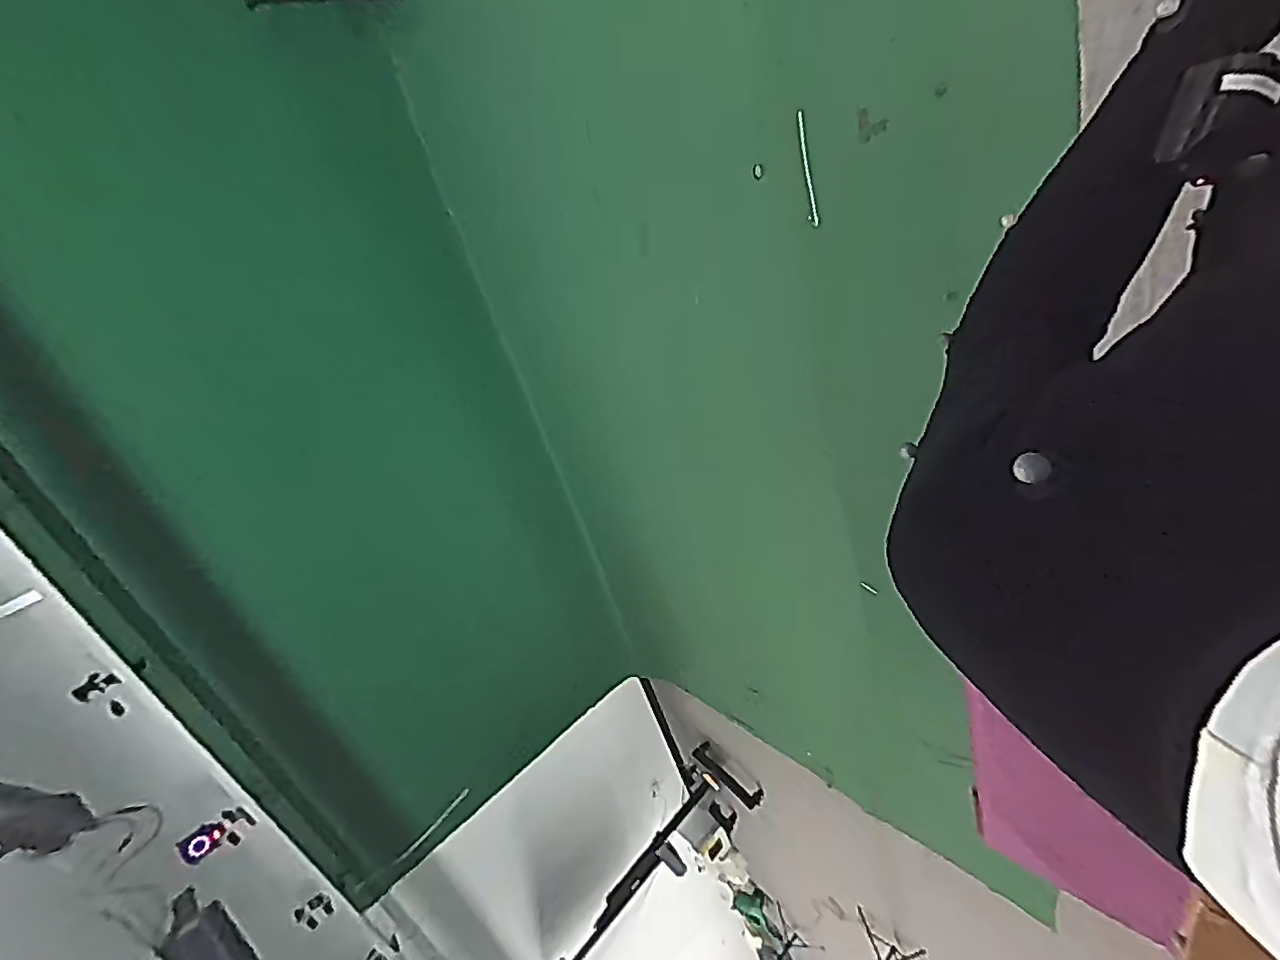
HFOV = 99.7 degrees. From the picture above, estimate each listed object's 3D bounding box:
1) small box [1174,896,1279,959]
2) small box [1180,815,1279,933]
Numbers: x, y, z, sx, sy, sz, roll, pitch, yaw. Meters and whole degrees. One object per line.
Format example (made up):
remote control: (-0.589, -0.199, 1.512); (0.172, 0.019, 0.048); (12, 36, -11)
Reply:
small box: (0.906, 0.770, 0.784); (0.179, 0.176, 0.168); (19, 133, 47)
small box: (1.023, 0.693, 0.867); (0.179, 0.176, 0.168); (20, 135, 46)
